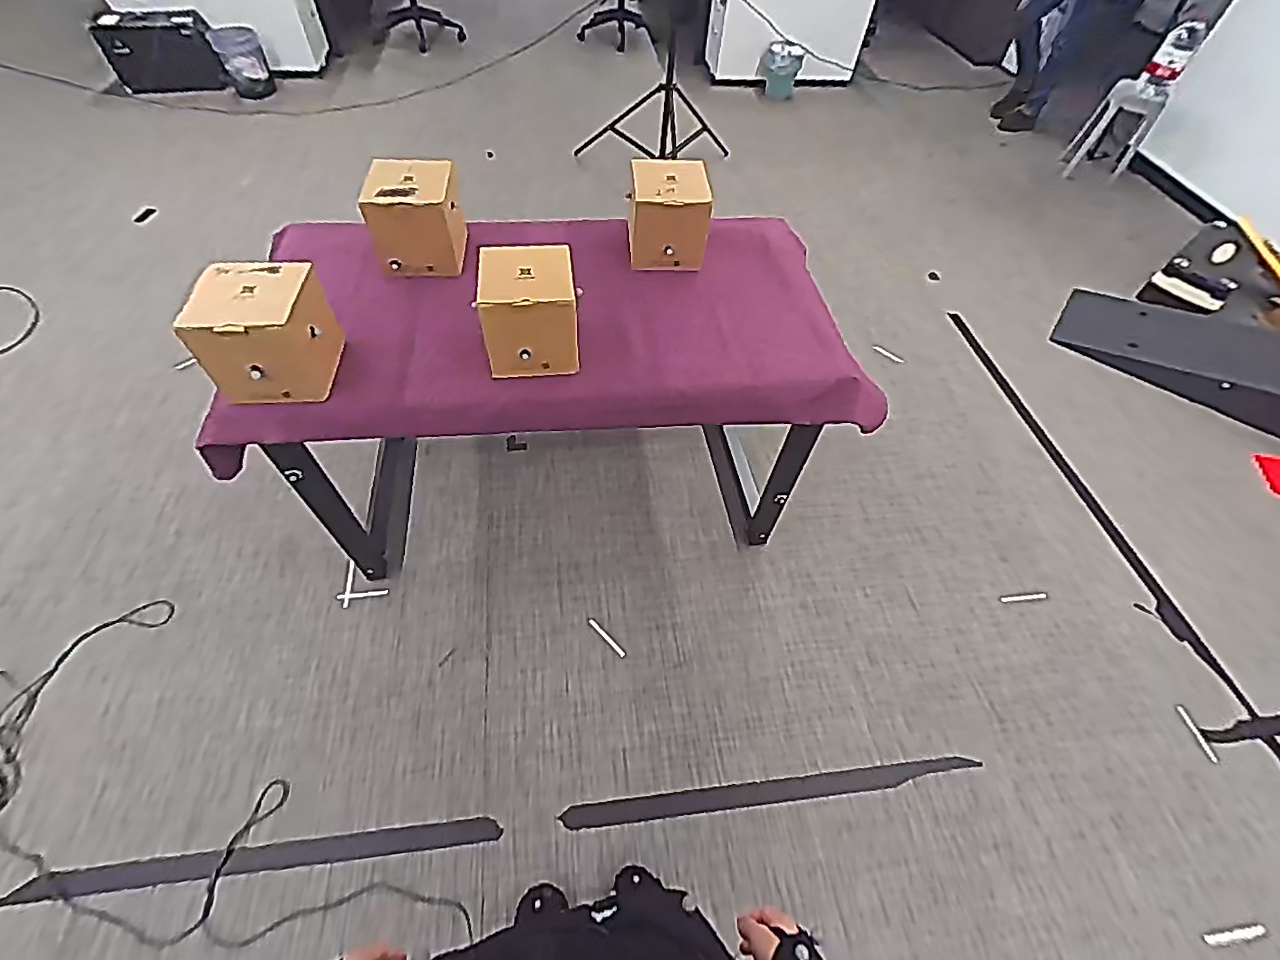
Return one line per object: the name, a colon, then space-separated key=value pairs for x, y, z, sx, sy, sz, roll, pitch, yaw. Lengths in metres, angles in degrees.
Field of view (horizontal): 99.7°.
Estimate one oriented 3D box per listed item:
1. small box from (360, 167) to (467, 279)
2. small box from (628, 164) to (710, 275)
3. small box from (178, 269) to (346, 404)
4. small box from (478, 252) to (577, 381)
small box: x=-0.485 y=-0.560 z=1.188 sx=0.168 sy=0.176 sz=0.179 roll=-2 pitch=55 yaw=-6
small box: x=0.059 y=-0.601 z=1.254 sx=0.168 sy=0.176 sz=0.179 roll=-2 pitch=57 yaw=-4
small box: x=-0.645 y=-0.247 z=0.951 sx=0.168 sy=0.176 sz=0.179 roll=-3 pitch=55 yaw=-7
small box: x=-0.209 y=-0.312 z=1.033 sx=0.168 sy=0.176 sz=0.179 roll=-5 pitch=54 yaw=-8
